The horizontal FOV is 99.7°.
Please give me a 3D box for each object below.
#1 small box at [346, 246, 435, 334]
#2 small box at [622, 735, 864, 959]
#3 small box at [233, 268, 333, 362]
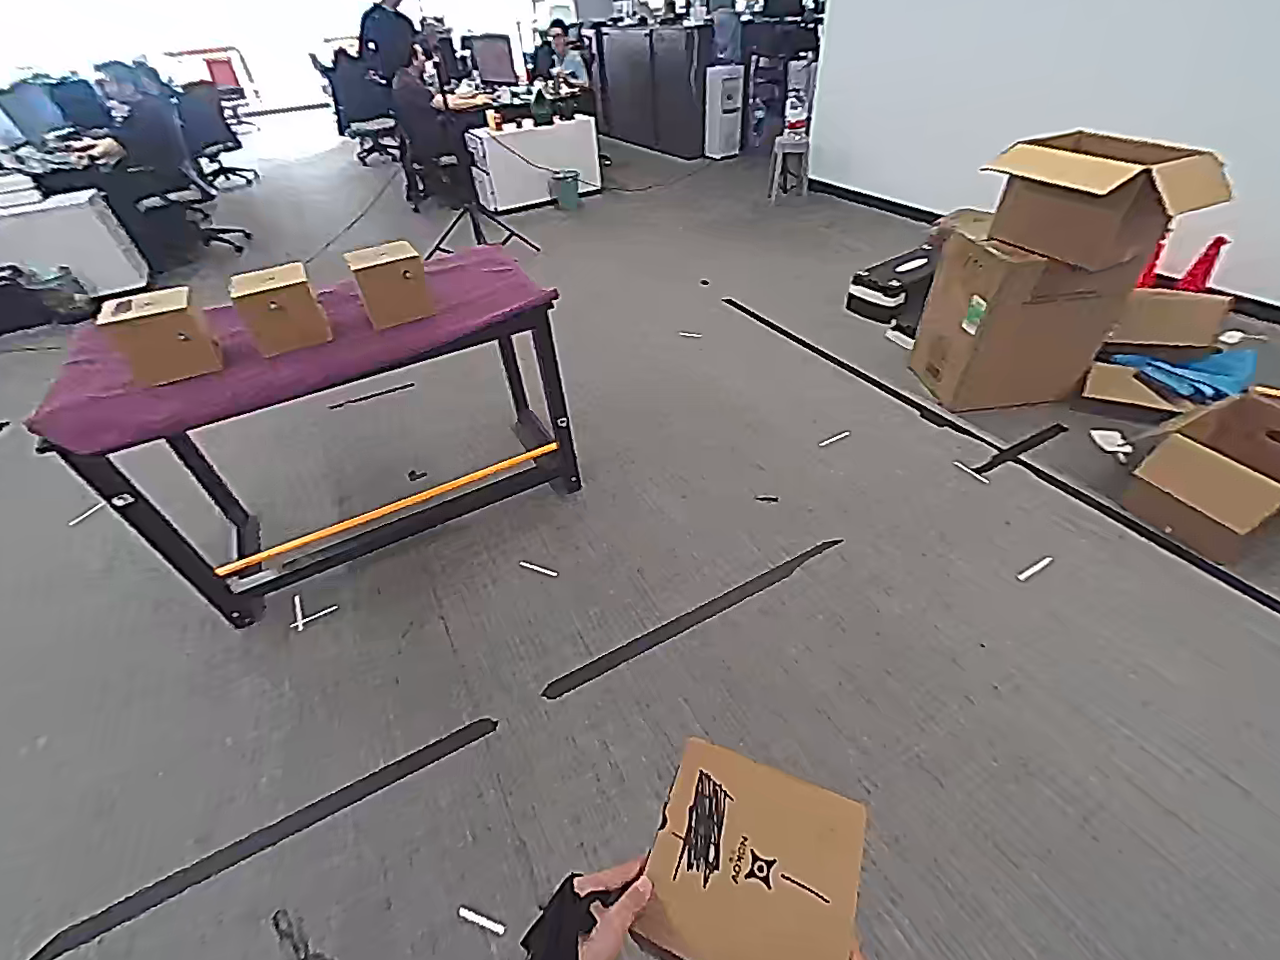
[{"bbox_3d":[-0.695,-0.535,1.521,0.179,0.176,0.168,-24,43,-20],"label":"small box"},{"bbox_3d":[0.100,0.386,0.523,0.179,0.176,0.168,13,48,18],"label":"small box"},{"bbox_3d":[-0.946,-0.441,1.447,0.179,0.176,0.168,-24,45,-19],"label":"small box"}]
